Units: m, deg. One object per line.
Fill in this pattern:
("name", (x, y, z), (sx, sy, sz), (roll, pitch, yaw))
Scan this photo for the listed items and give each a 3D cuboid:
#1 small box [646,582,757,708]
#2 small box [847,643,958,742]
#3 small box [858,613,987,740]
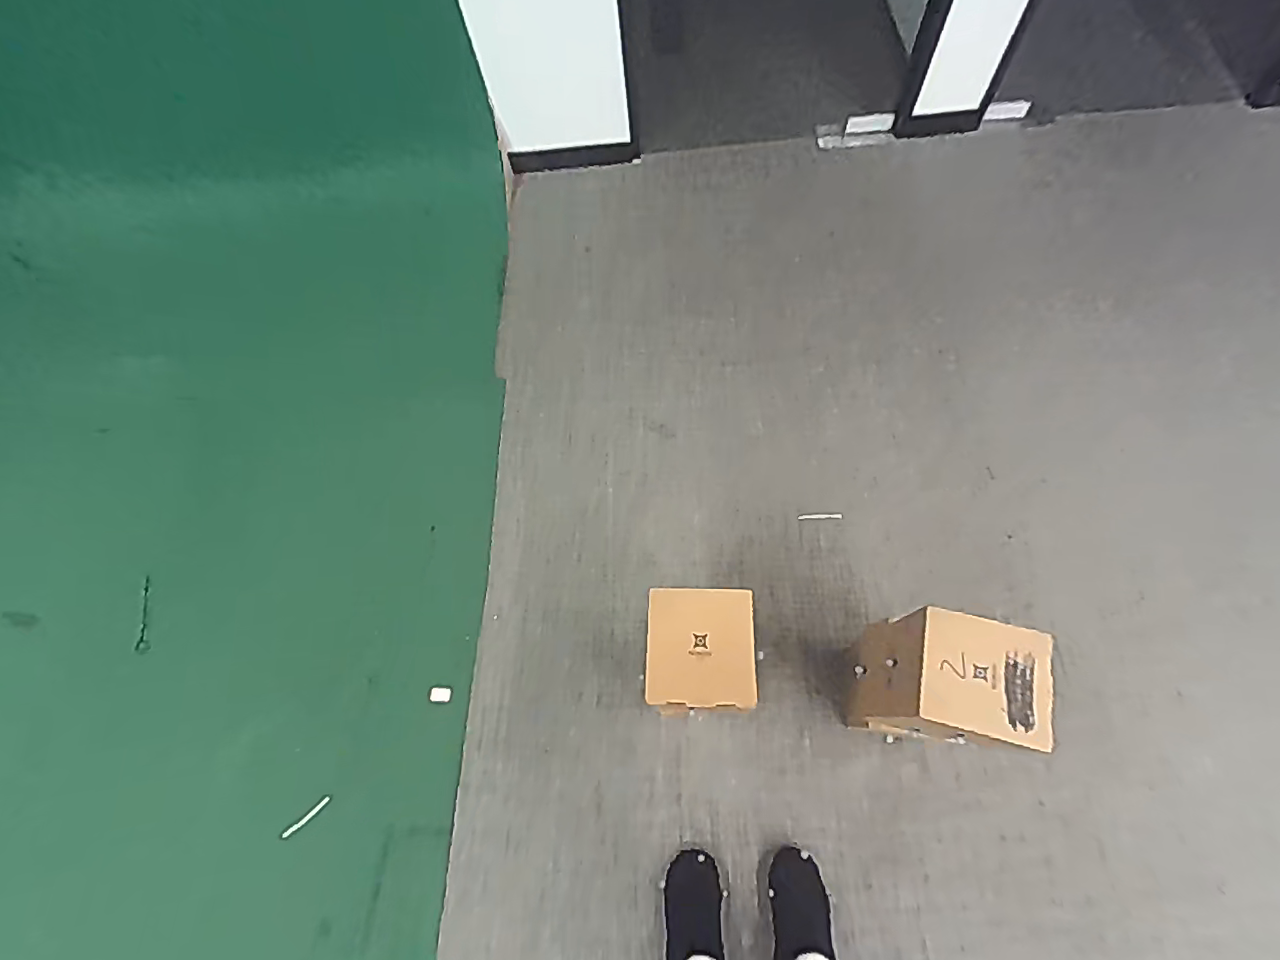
("small box", (0.100, 0.278, 0.897), (0.168, 0.176, 0.179), (0, 66, 6))
("small box", (0.545, 0.441, 1.141), (0.168, 0.176, 0.179), (7, 67, 8))
("small box", (0.513, 0.364, 1.000), (0.168, 0.176, 0.179), (11, 68, 10))
